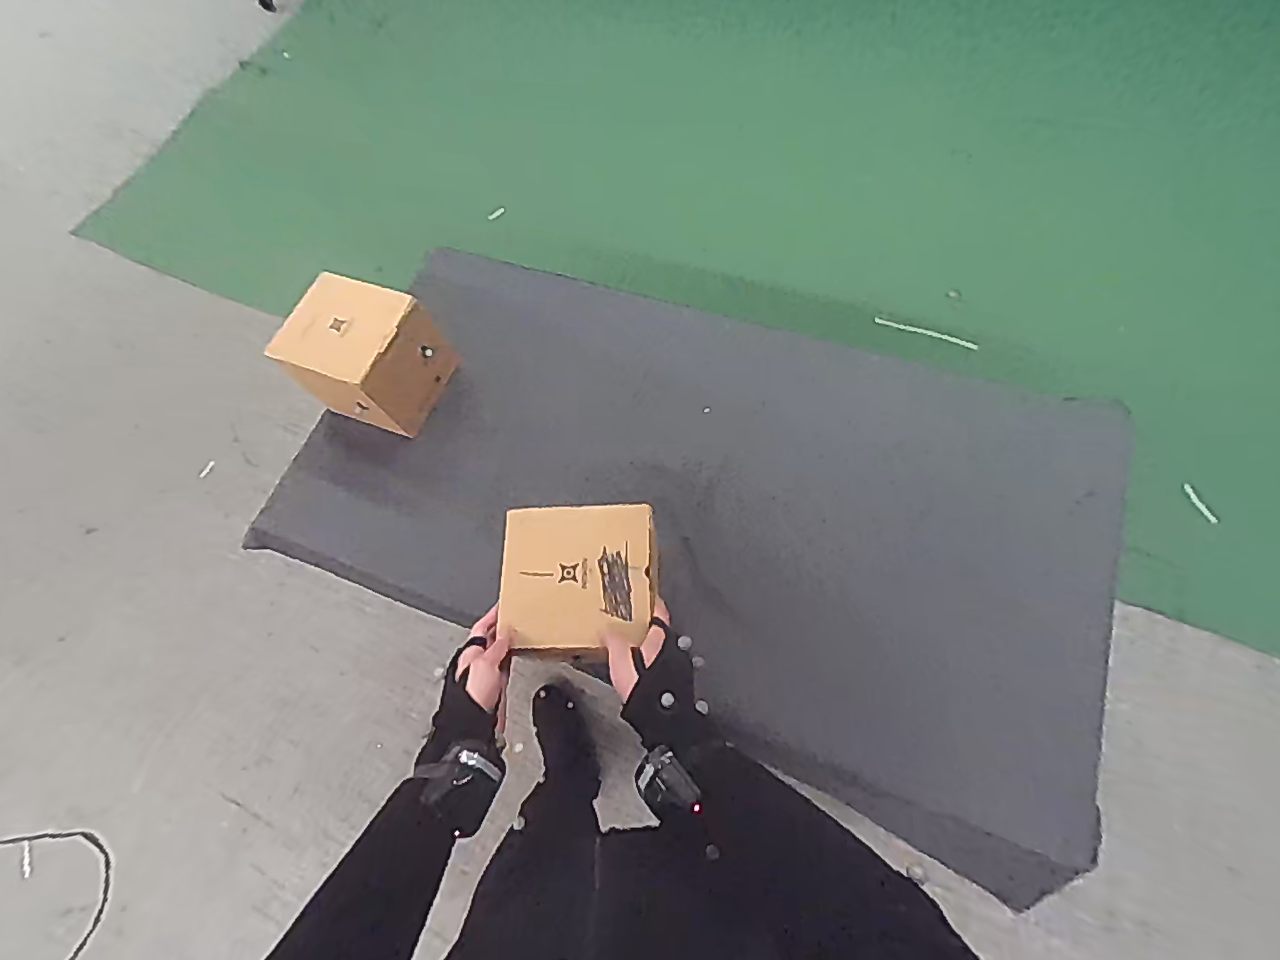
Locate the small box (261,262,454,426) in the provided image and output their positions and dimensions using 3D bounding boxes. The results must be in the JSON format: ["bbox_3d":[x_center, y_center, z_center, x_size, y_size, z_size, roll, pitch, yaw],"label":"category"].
[{"bbox_3d":[-0.428,-0.205,0.854,0.179,0.176,0.168,18,68,13],"label":"small box"}]

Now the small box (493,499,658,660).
[{"bbox_3d":[-0.065,0.130,0.676,0.179,0.176,0.168,-1,66,3],"label":"small box"}]
